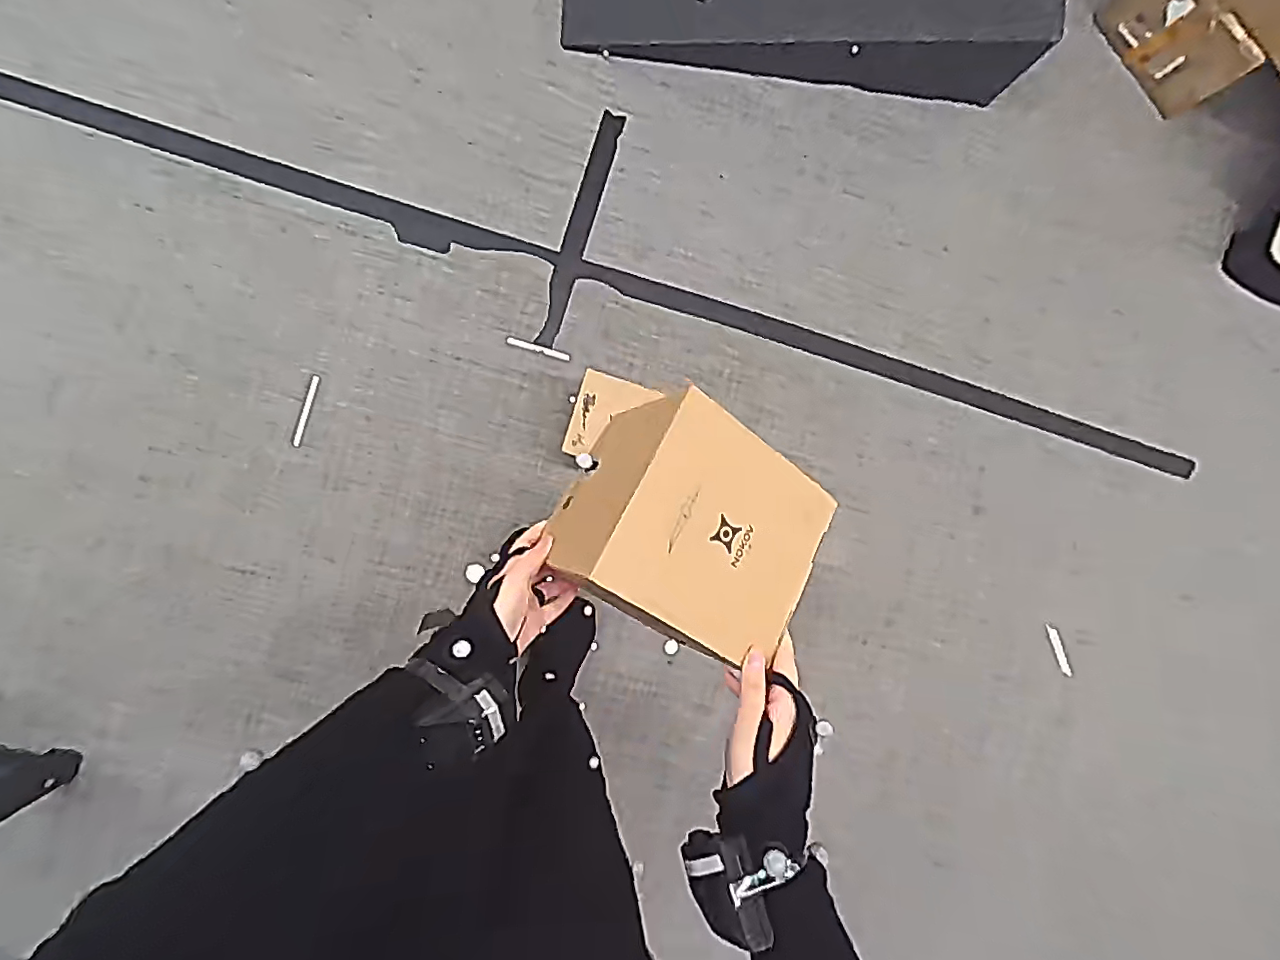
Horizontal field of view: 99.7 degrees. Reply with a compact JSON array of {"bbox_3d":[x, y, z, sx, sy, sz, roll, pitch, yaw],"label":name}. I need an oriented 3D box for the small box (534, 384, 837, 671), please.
[{"bbox_3d":[0.033,0.041,0.489,0.179,0.176,0.168,36,73,-20],"label":"small box"}]

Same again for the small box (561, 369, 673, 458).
[{"bbox_3d":[-0.050,-0.109,1.094,0.179,0.176,0.168,19,90,-7],"label":"small box"}]
